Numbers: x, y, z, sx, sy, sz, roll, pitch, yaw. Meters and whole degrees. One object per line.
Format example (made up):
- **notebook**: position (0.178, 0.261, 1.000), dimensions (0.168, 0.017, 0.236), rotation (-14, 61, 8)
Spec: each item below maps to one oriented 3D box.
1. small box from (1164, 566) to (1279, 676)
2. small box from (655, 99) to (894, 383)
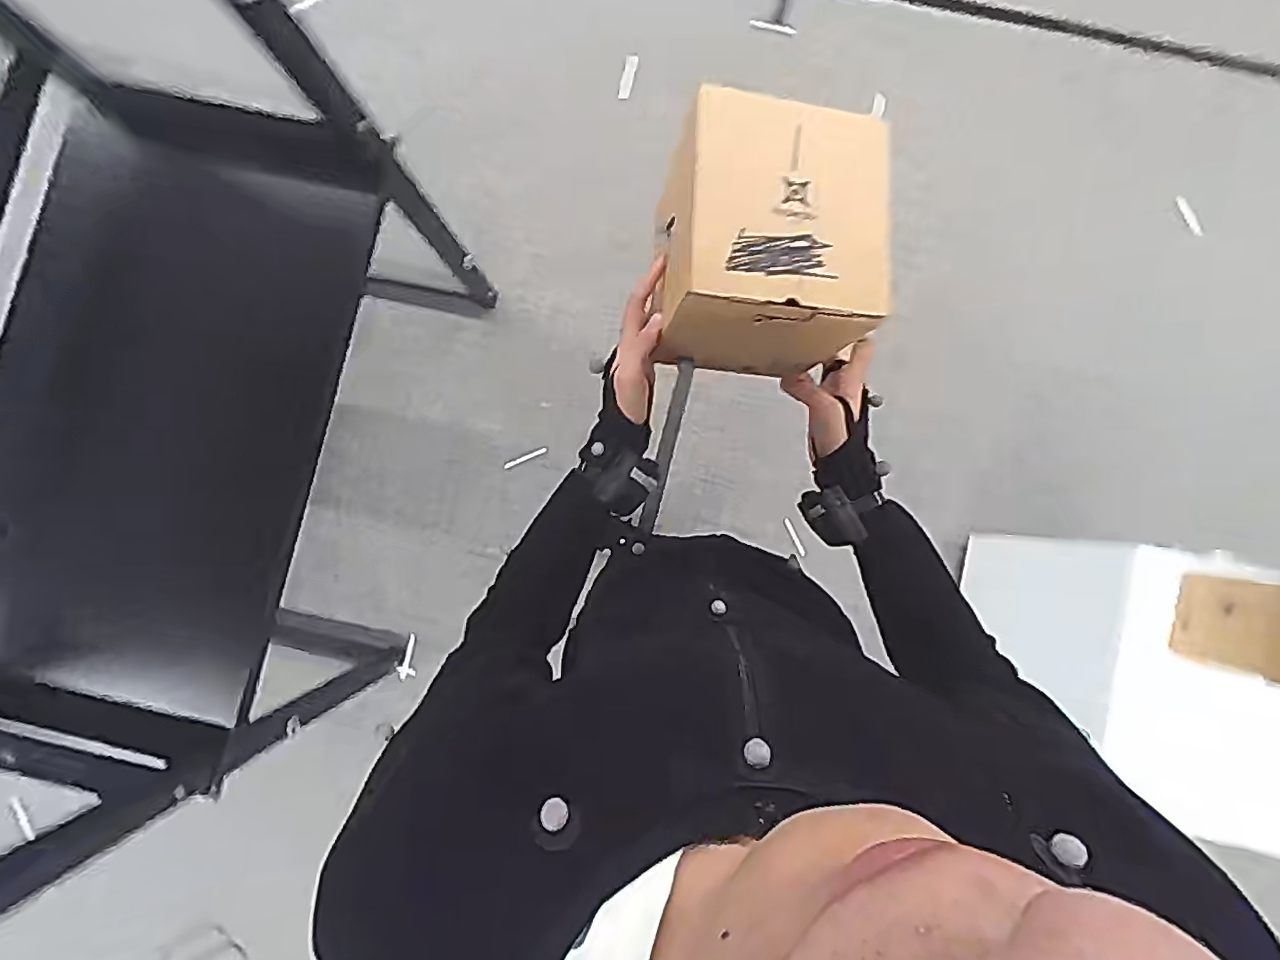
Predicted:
- **small box**: position (1.102, 0.254, 0.962), dimensions (0.179, 0.176, 0.168), rotation (13, 87, 1)
- **small box**: position (0.112, -0.201, 0.508), dimensions (0.168, 0.176, 0.179), rotation (5, 82, -10)
